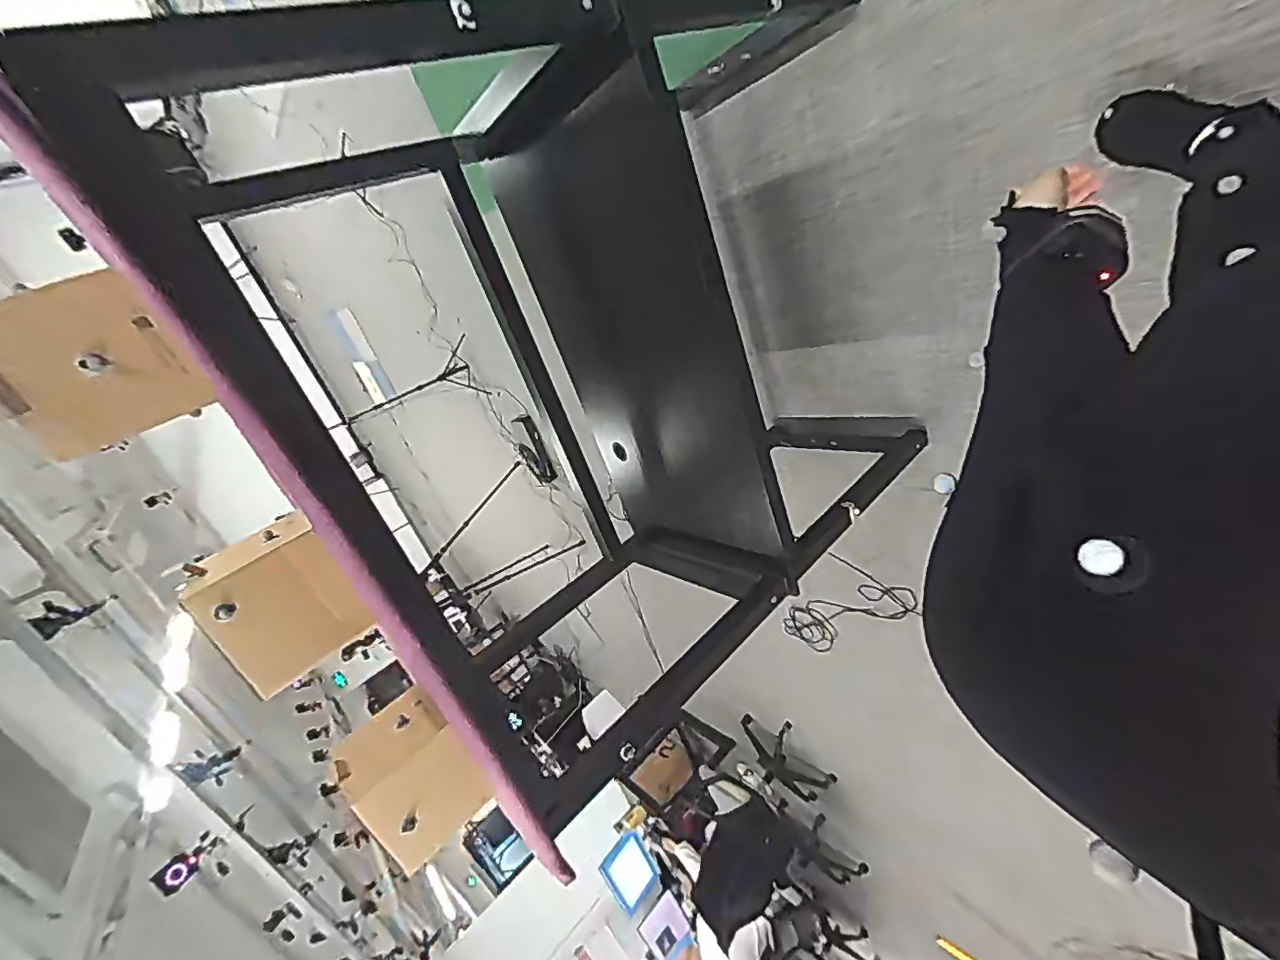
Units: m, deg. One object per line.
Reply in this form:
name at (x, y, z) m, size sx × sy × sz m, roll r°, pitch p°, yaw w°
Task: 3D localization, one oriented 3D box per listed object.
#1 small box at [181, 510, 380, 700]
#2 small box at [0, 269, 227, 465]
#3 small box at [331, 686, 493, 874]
small box at (-0.507, 0.169, 0.782) m, size 0.168 × 0.176 × 0.179 m, roll 11°, pitch 128°, yaw 53°
small box at (-0.636, -0.142, 0.647) m, size 0.179 × 0.176 × 0.168 m, roll 19°, pitch 137°, yaw 49°
small box at (-0.373, 0.485, 0.899) m, size 0.168 × 0.176 × 0.179 m, roll 8°, pitch 125°, yaw 51°
